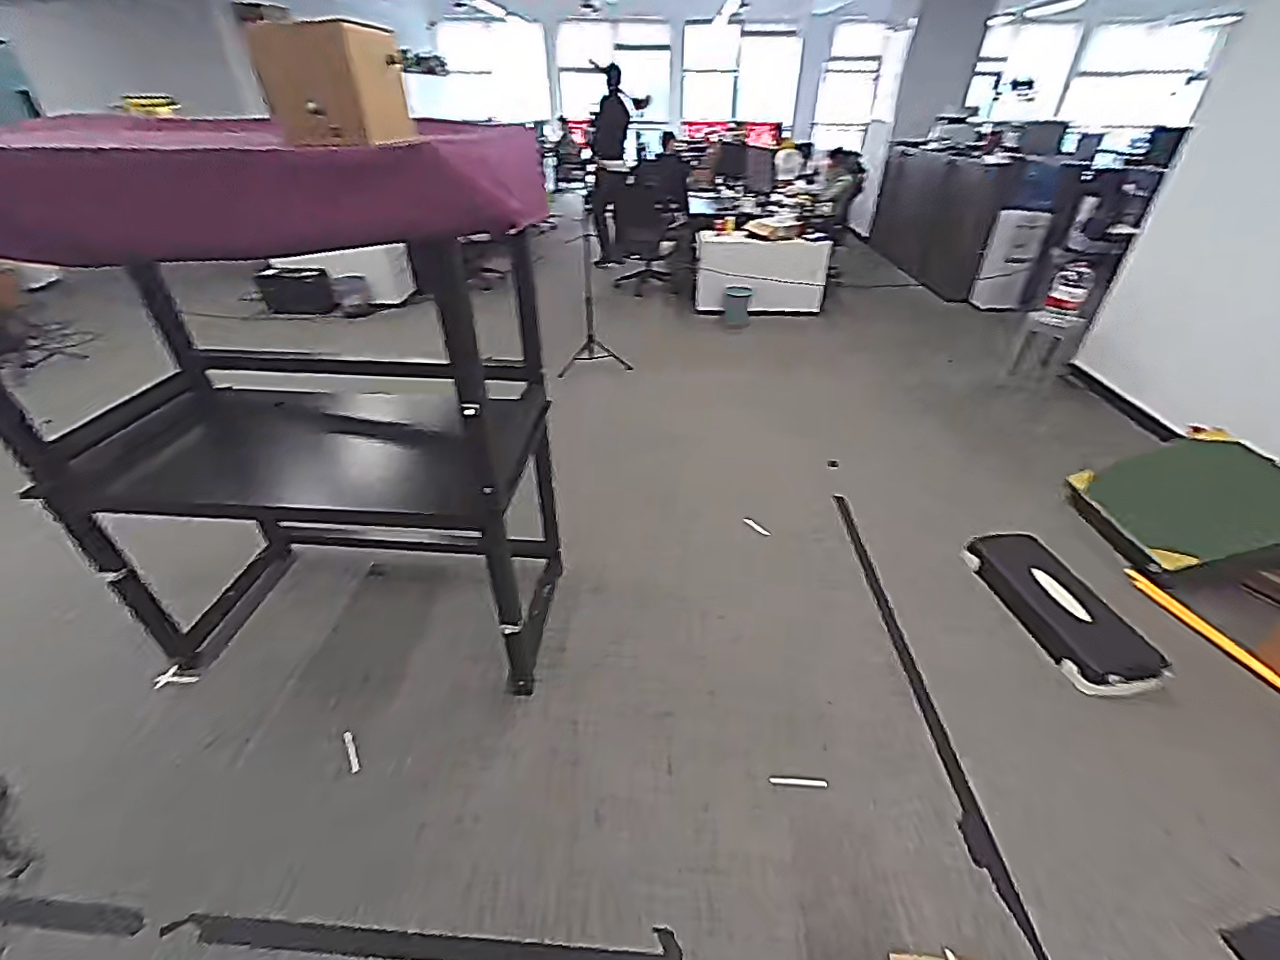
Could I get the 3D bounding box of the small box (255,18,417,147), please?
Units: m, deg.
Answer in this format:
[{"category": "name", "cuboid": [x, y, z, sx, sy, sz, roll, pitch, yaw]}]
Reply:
[{"category": "small box", "cuboid": [-0.514, -0.690, 0.950, 0.168, 0.176, 0.179, 4, 35, 6]}]
